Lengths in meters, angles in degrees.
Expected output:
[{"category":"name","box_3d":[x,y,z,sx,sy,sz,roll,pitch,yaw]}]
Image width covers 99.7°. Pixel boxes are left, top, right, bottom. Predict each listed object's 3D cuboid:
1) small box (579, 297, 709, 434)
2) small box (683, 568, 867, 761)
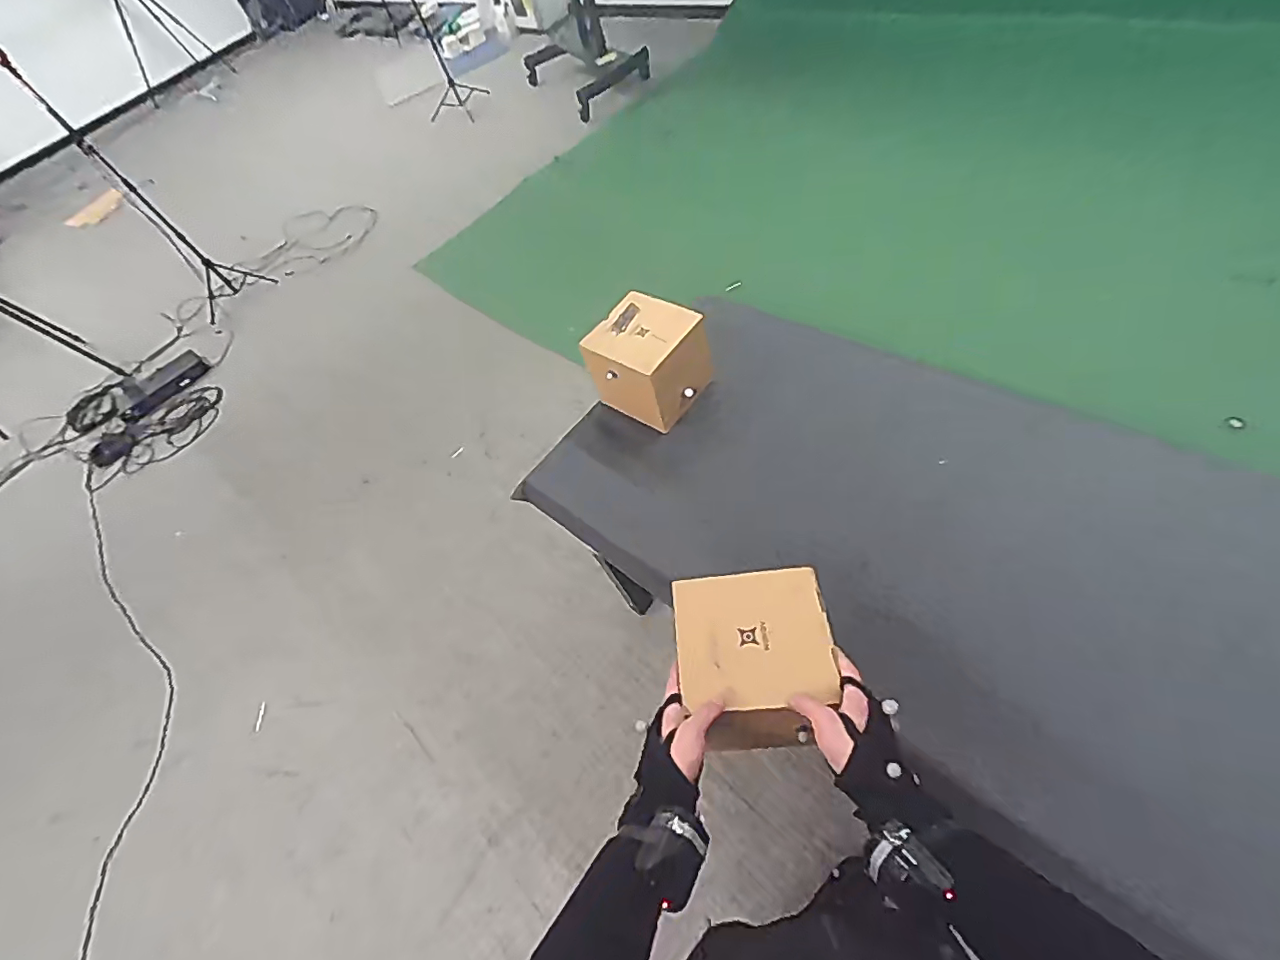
[{"category":"small box","box_3d":[0.015,-0.217,1.044,0.179,0.176,0.168,29,67,28]},{"category":"small box","box_3d":[0.153,0.229,0.662,0.179,0.176,0.168,-8,47,5]}]
